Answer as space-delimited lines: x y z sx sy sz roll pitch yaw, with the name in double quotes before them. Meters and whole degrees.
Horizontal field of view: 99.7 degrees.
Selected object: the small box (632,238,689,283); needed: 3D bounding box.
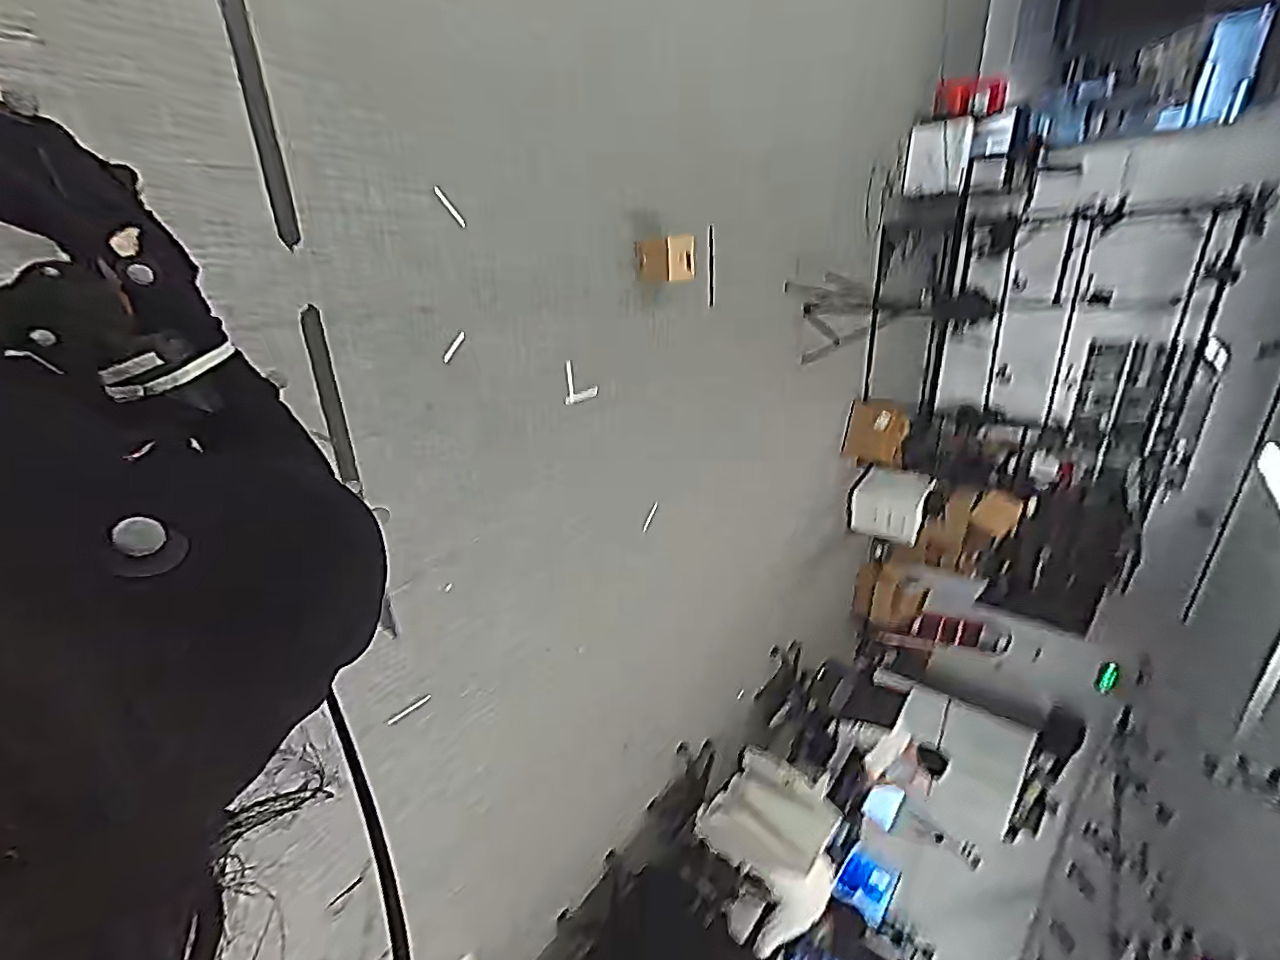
"small box" 0.086 -0.906 2.226 0.179 0.176 0.168 -27 122 -43
